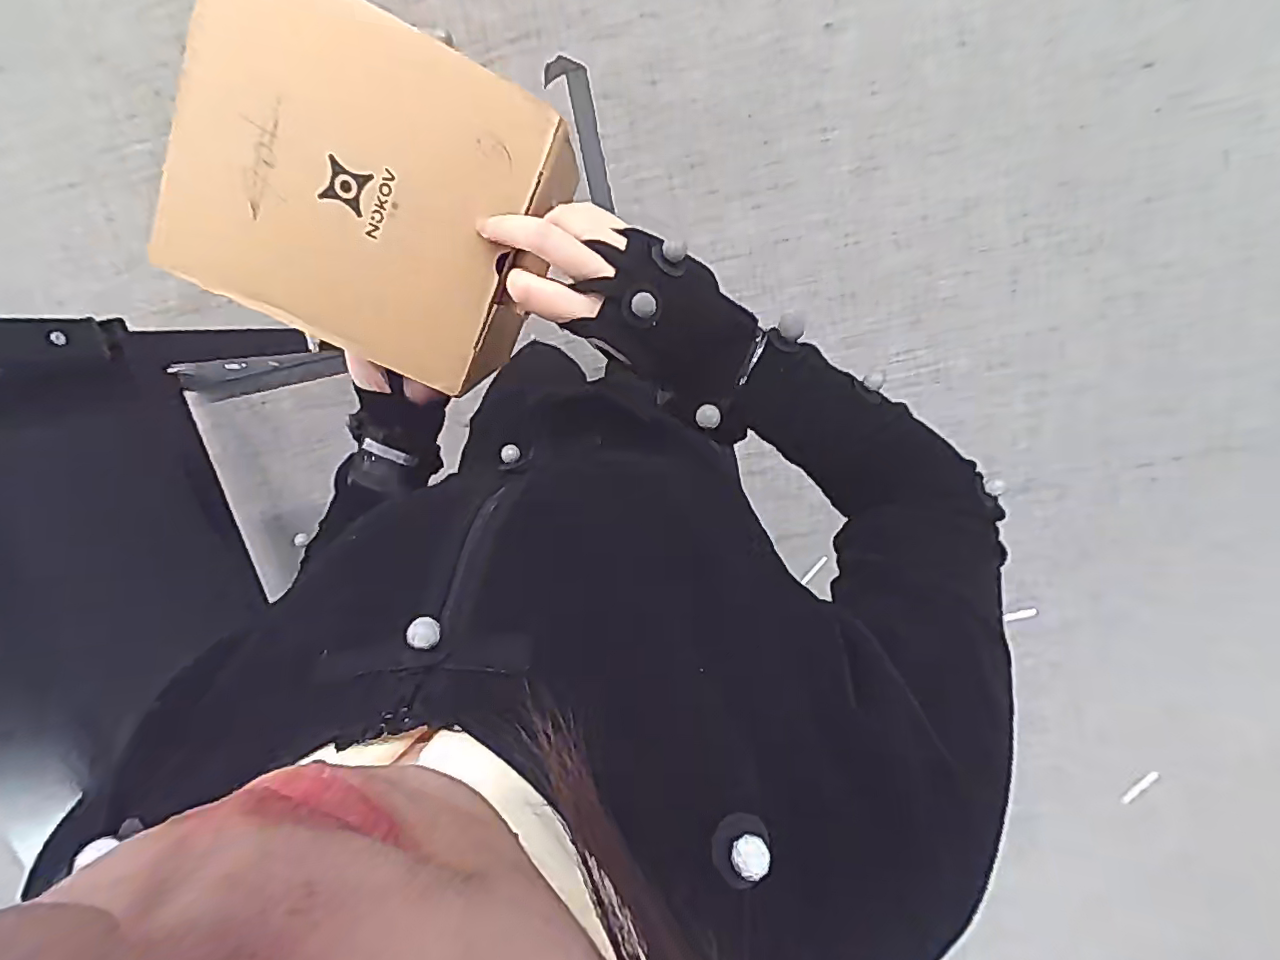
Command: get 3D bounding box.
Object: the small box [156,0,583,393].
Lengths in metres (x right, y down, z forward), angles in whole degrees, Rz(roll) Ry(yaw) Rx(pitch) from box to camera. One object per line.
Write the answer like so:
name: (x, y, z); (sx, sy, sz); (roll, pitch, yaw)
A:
small box: (-0.146, -0.180, 0.354); (0.179, 0.176, 0.168); (25, 105, -11)
